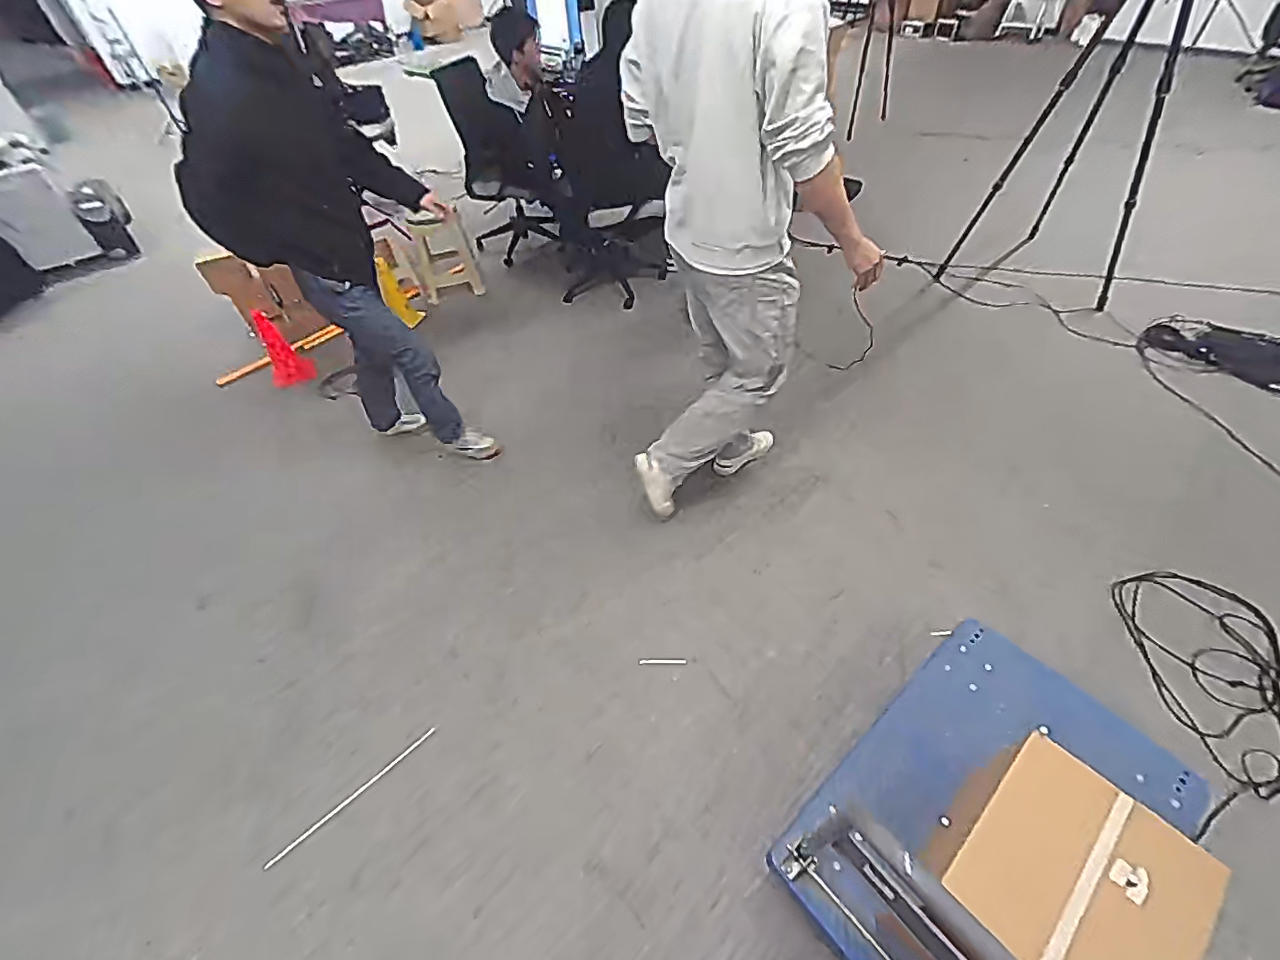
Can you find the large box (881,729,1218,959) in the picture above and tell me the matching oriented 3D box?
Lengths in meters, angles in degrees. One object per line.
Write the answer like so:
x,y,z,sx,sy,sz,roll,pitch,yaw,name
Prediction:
0.722,0.768,0.998,0.408,0.320,0.320,-34,55,-26,large box
